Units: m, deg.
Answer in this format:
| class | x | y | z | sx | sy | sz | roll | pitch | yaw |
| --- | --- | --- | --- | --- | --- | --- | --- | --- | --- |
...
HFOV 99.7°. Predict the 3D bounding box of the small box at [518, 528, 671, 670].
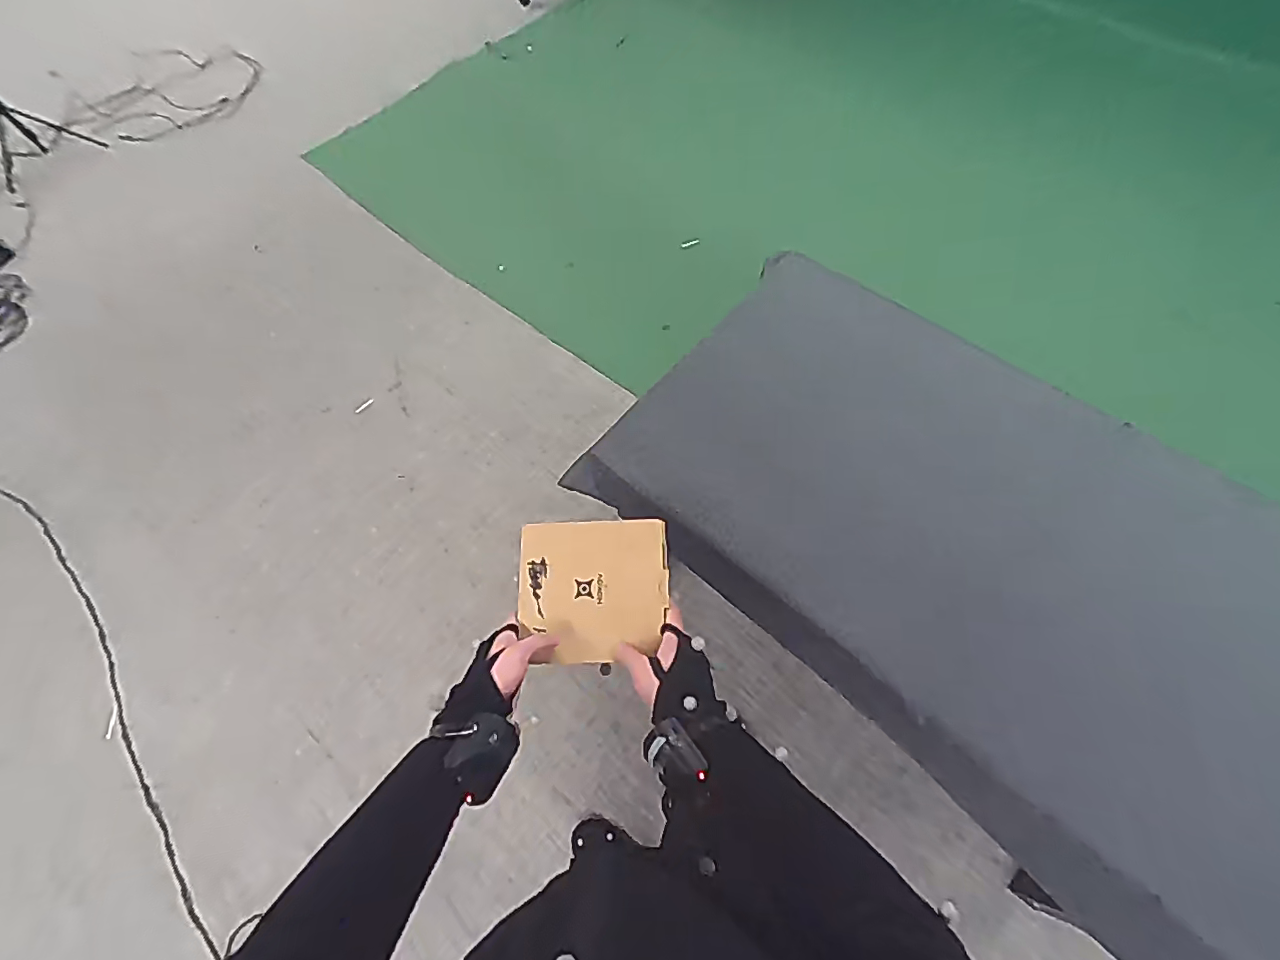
| class | x | y | z | sx | sy | sz | roll | pitch | yaw |
| --- | --- | --- | --- | --- | --- | --- | --- | --- | --- |
| small box | -0.050 | 0.160 | 0.710 | 0.179 | 0.176 | 0.168 | -1 | 72 | 2 |
